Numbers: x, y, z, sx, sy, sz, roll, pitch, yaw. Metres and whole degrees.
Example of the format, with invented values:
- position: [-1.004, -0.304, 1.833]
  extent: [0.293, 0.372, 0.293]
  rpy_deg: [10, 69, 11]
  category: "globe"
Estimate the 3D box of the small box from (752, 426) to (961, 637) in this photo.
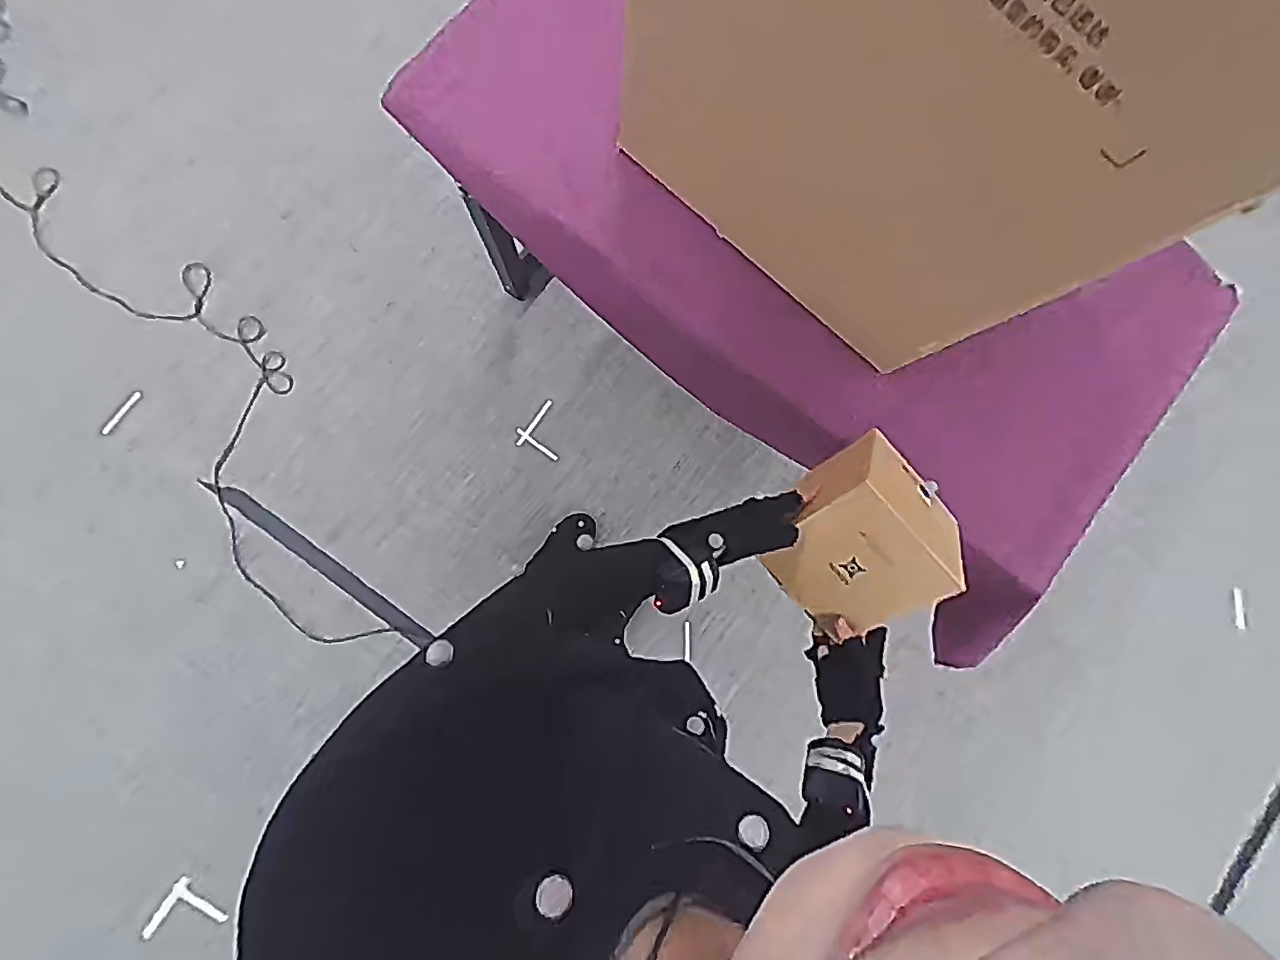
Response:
- position: [0.278, 0.062, 0.697]
  extent: [0.168, 0.176, 0.179]
  rpy_deg: [46, 125, -2]
  category: "small box"
